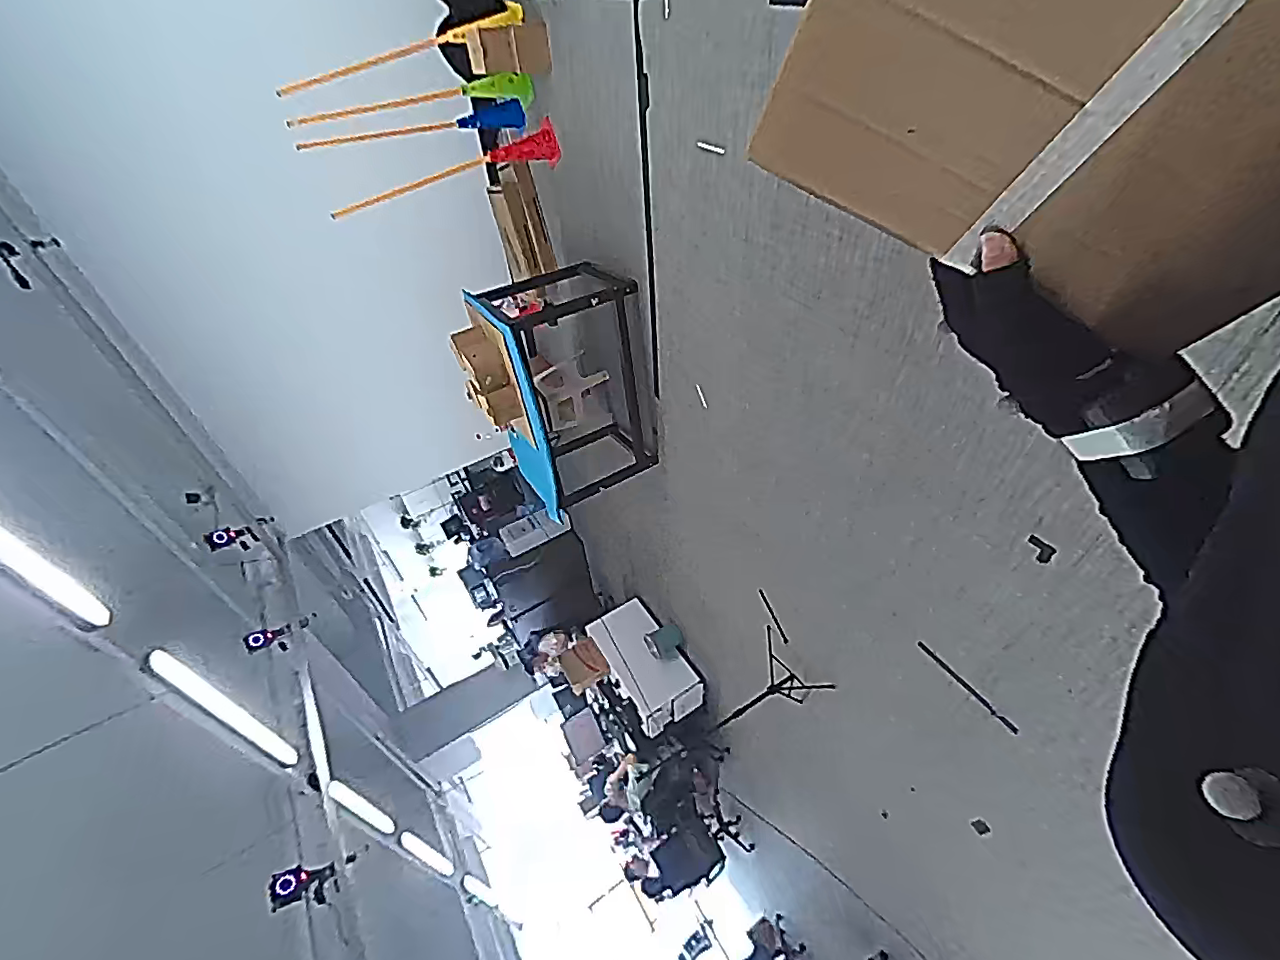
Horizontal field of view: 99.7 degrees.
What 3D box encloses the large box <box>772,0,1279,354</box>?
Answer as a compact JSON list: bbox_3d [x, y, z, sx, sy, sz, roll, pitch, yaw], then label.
[{"bbox_3d":[0.320,-0.354,0.272,0.320,0.320,0.408,25,151,-2],"label":"large box"}]
